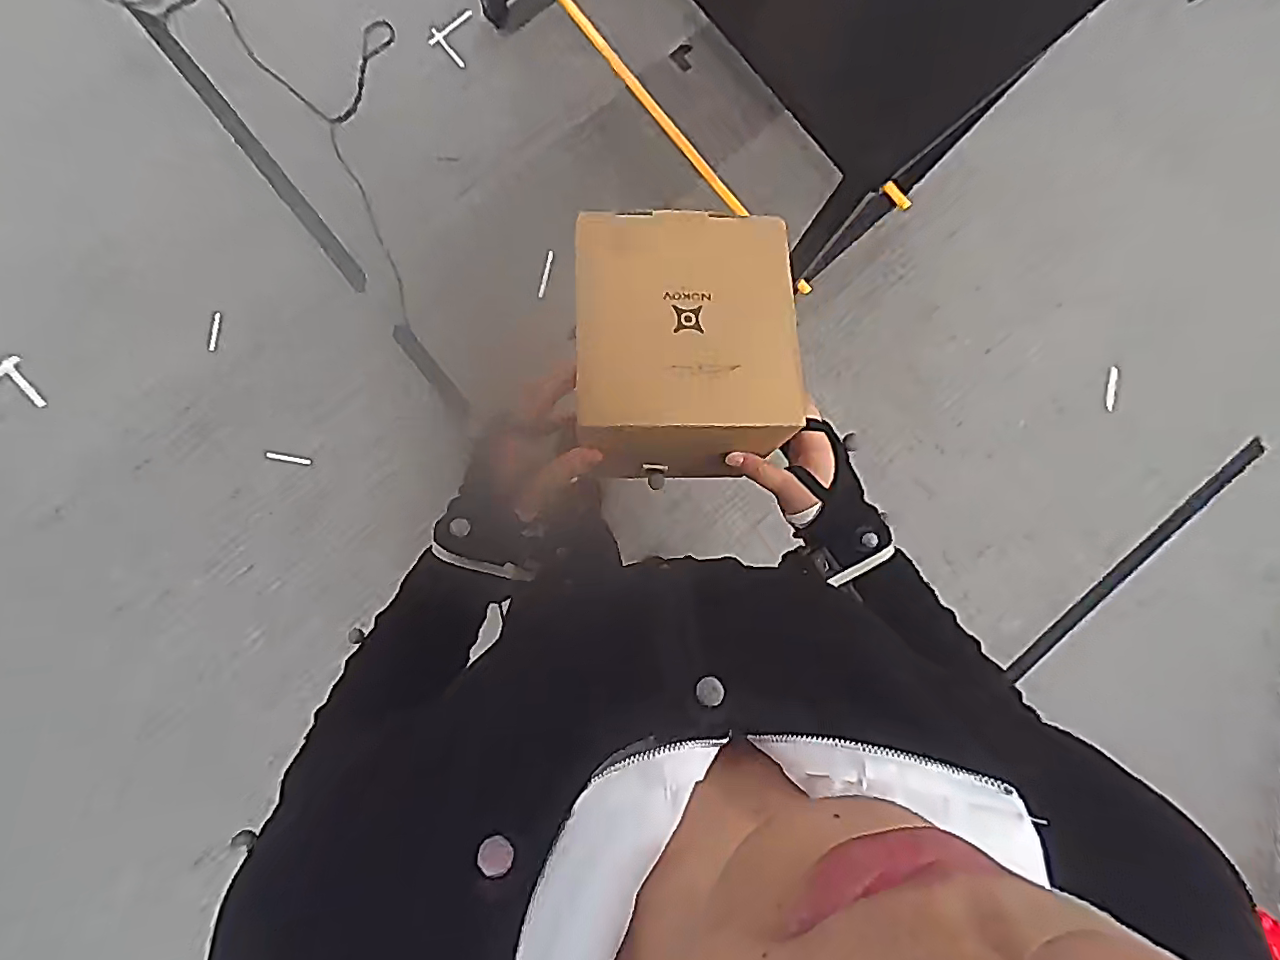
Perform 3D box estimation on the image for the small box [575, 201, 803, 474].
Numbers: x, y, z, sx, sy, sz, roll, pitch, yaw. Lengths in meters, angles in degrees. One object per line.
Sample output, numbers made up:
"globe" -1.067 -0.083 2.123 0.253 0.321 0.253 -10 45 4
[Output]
"small box" 0.027 -0.110 0.475 0.168 0.176 0.179 -1 78 -5
